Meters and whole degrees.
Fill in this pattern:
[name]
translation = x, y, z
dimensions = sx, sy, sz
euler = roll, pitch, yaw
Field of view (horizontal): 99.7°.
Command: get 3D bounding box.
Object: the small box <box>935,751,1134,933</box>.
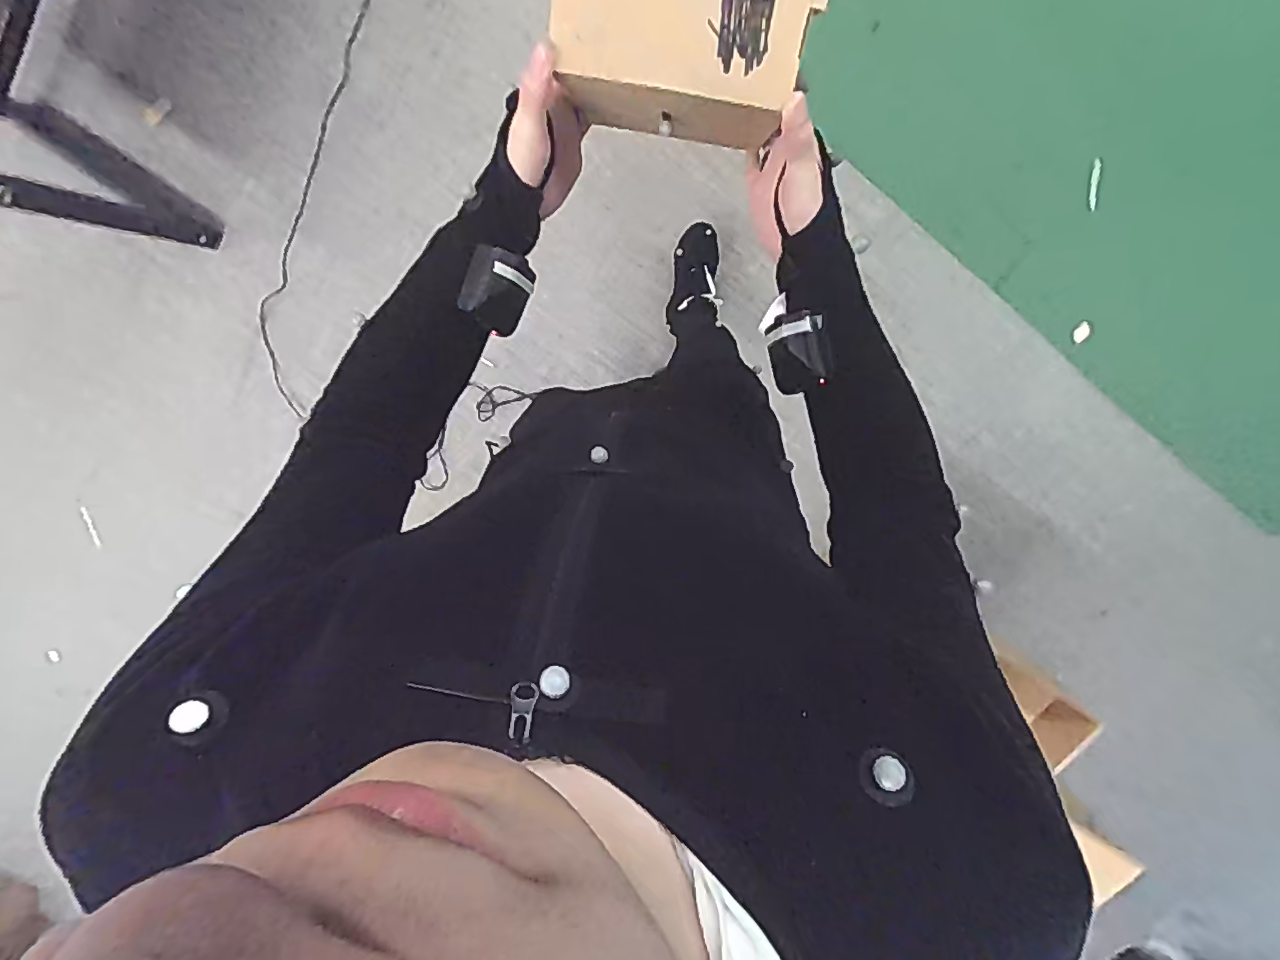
[small box]
translation = 0.661, 0.608, 0.928
dimensions = 0.179, 0.176, 0.168
euler = 34, 102, -8
